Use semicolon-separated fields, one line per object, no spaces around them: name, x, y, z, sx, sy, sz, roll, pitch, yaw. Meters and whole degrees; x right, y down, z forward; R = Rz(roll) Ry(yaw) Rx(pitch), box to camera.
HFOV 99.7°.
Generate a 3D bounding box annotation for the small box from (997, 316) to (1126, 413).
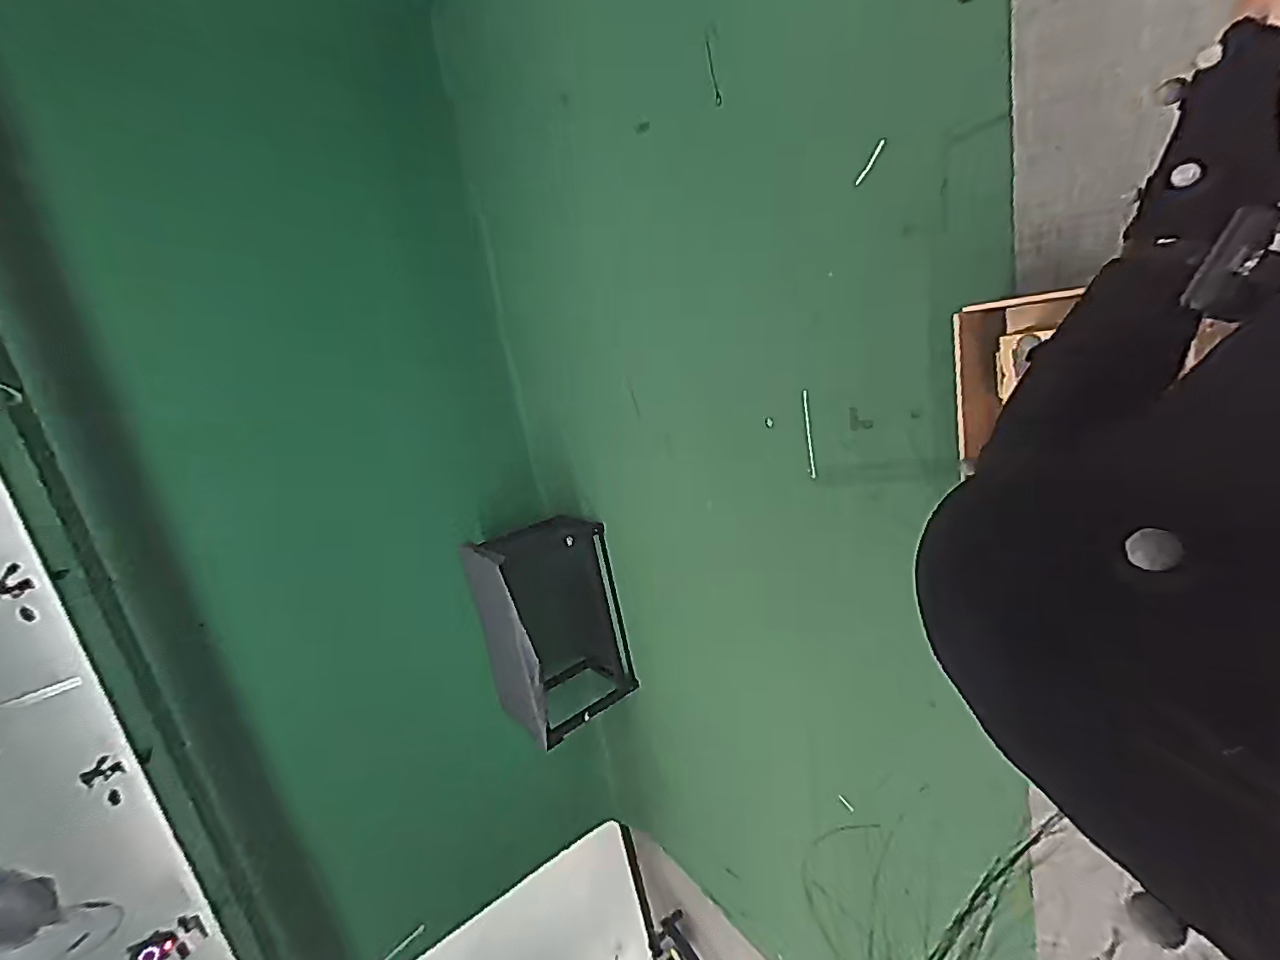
small box;0.888;-0.241;1.141;0.179;0.176;0.168;5;111;53
